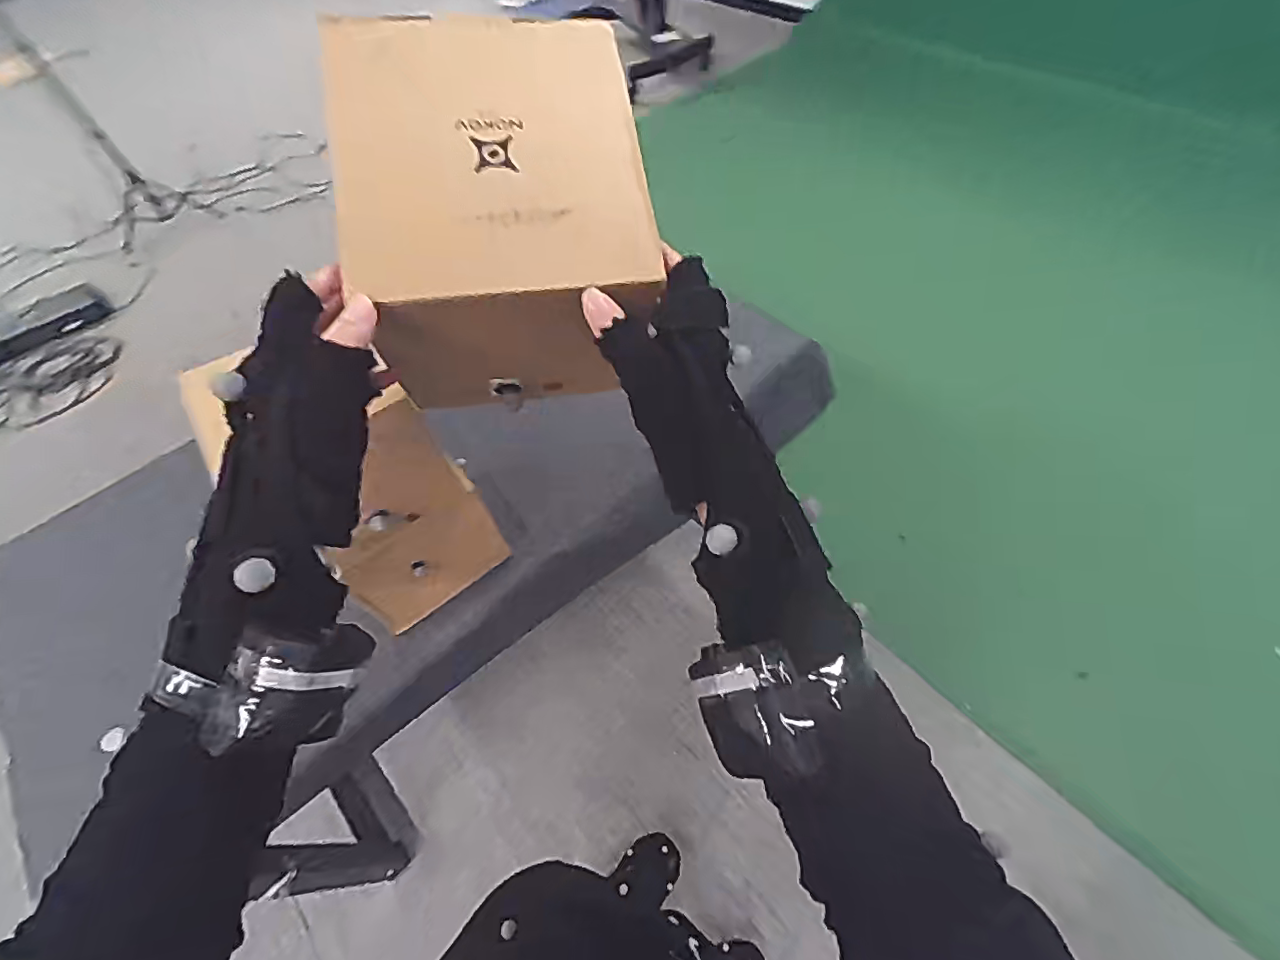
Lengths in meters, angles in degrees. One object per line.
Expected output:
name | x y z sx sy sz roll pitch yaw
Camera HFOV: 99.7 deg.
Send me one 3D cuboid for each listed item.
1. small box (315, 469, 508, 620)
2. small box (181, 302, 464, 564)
small box | -0.300 0.050 0.695 0.179 0.176 0.168 -36 60 -17
small box | -0.315 -0.046 0.562 0.168 0.176 0.179 -36 58 -18
